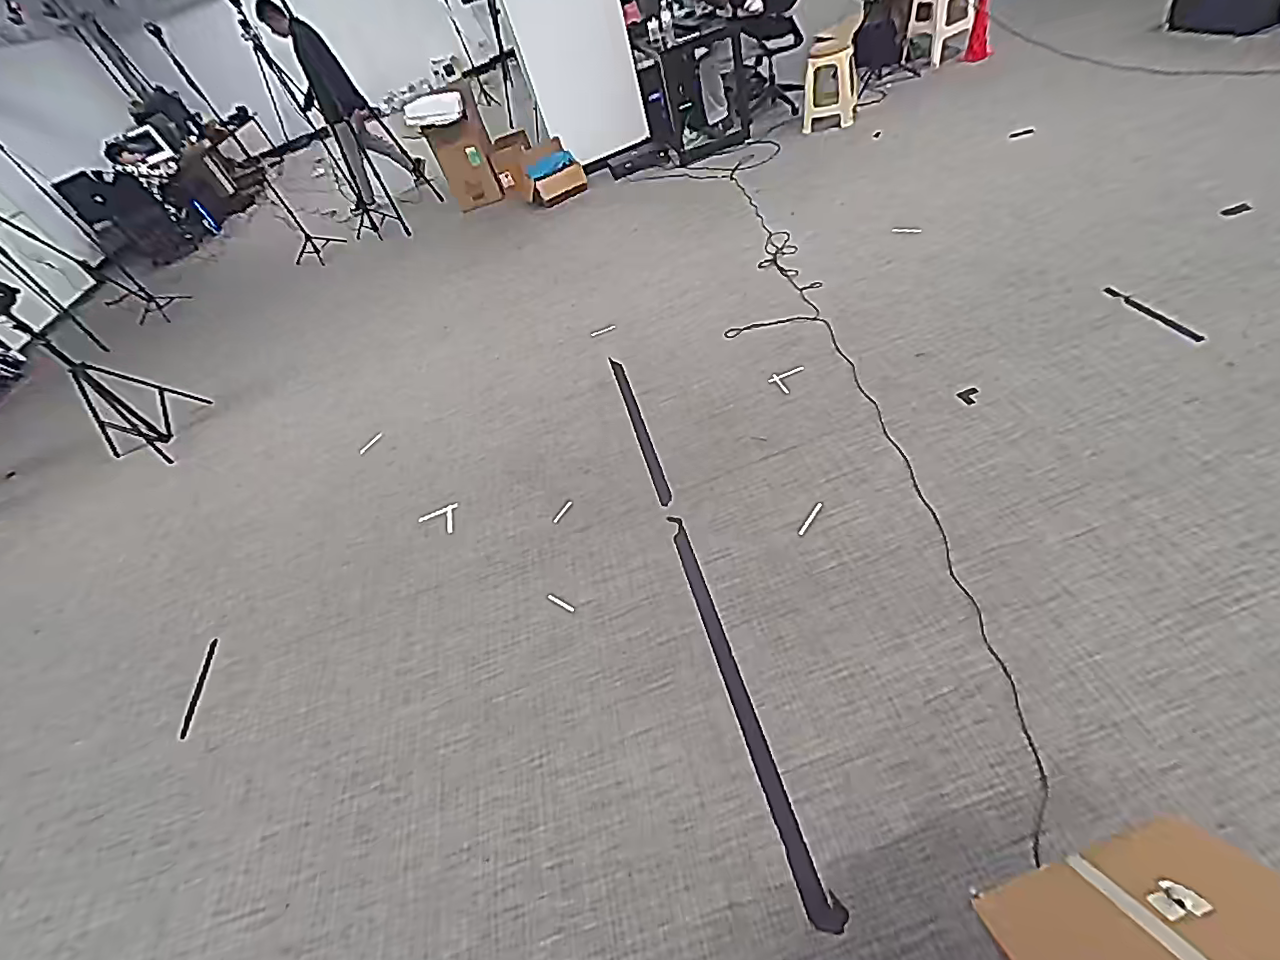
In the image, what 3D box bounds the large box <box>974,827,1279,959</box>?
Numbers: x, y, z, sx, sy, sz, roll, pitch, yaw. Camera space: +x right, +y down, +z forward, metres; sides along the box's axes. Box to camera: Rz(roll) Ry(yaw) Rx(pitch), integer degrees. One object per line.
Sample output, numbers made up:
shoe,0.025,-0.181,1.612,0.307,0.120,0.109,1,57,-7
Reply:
large box,0.658,0.659,0.552,0.320,0.408,0.320,-25,78,3
